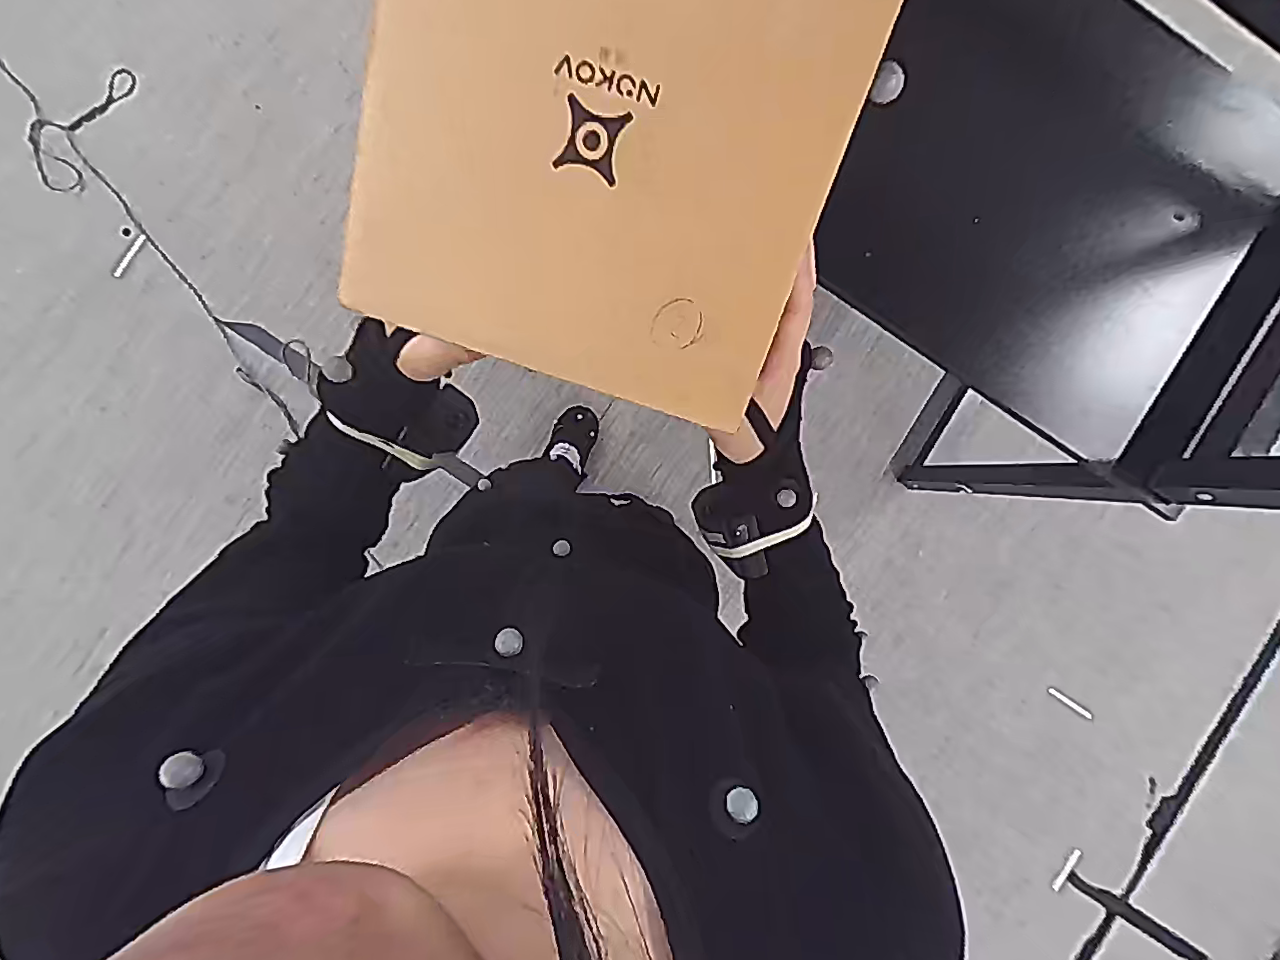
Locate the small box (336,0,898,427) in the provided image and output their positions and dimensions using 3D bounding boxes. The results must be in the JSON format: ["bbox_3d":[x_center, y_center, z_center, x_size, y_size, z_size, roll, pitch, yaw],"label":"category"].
[{"bbox_3d":[-0.007,-0.146,0.255,0.168,0.176,0.179,18,108,0],"label":"small box"}]
